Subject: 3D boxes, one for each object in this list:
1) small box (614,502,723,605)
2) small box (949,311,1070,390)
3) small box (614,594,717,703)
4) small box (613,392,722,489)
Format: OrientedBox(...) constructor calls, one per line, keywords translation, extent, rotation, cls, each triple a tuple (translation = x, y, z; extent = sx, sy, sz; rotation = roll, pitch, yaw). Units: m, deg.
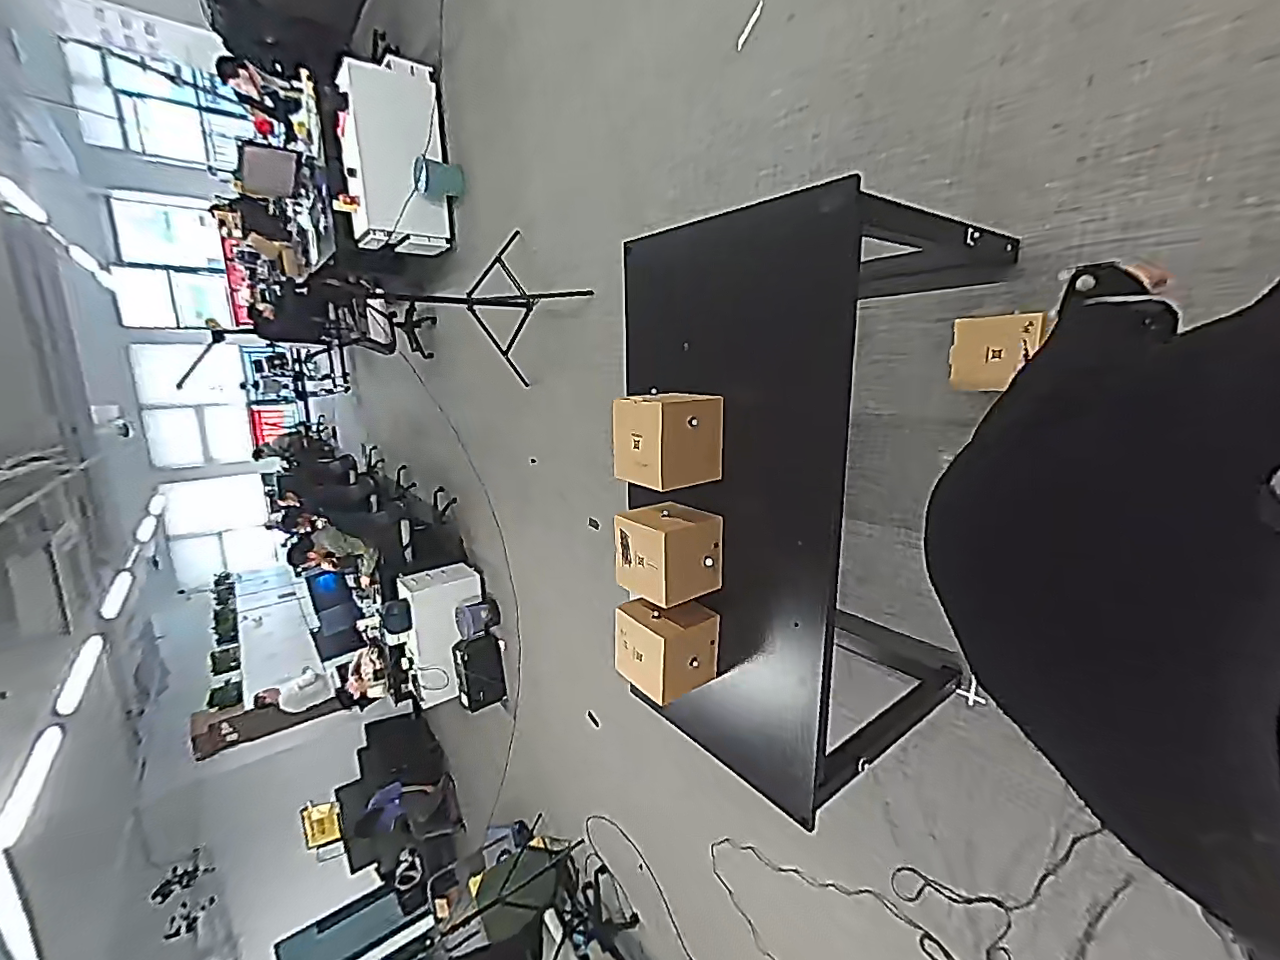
OrientedBox(translation=(0.059, 0.150, 1.188), extent=(0.179, 0.176, 0.168), rotation=(14, 110, 50), cls="small box")
OrientedBox(translation=(0.850, -0.295, 1.249), extent=(0.179, 0.176, 0.168), rotation=(14, 110, 52), cls="small box")
OrientedBox(translation=(0.059, 0.368, 1.241), extent=(0.179, 0.176, 0.168), rotation=(20, 113, 50), cls="small box")
OrientedBox(translation=(0.058, -0.093, 1.135), extent=(0.168, 0.176, 0.179), rotation=(16, 112, 52), cls="small box")
